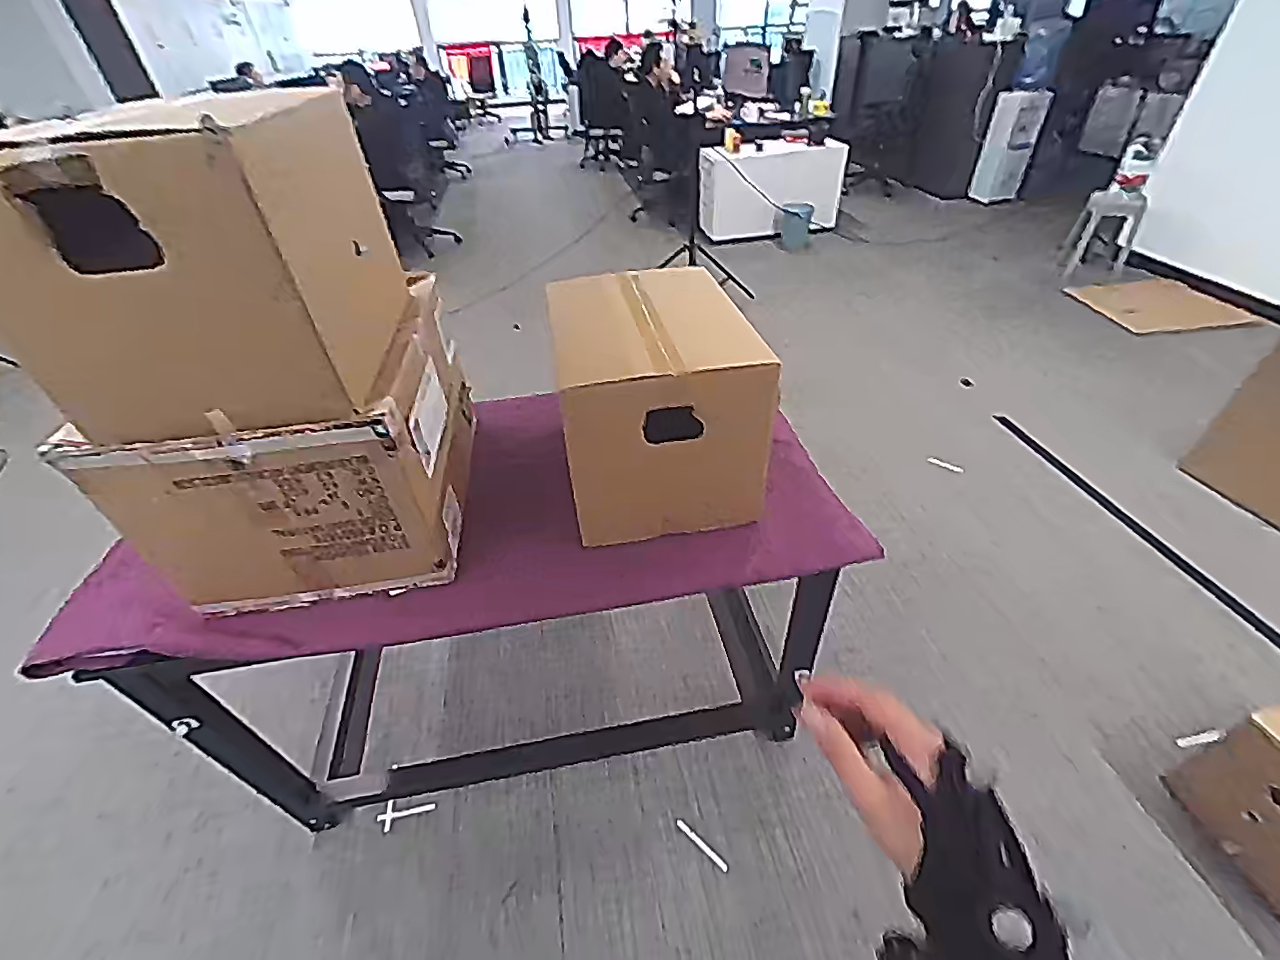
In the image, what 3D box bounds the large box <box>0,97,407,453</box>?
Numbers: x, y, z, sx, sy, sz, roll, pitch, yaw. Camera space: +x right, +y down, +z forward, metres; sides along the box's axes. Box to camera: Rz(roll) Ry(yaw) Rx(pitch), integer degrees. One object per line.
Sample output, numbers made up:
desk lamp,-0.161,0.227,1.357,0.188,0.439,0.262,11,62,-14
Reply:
large box,-0.534,-0.292,0.718,0.320,0.320,0.408,-10,41,-5
